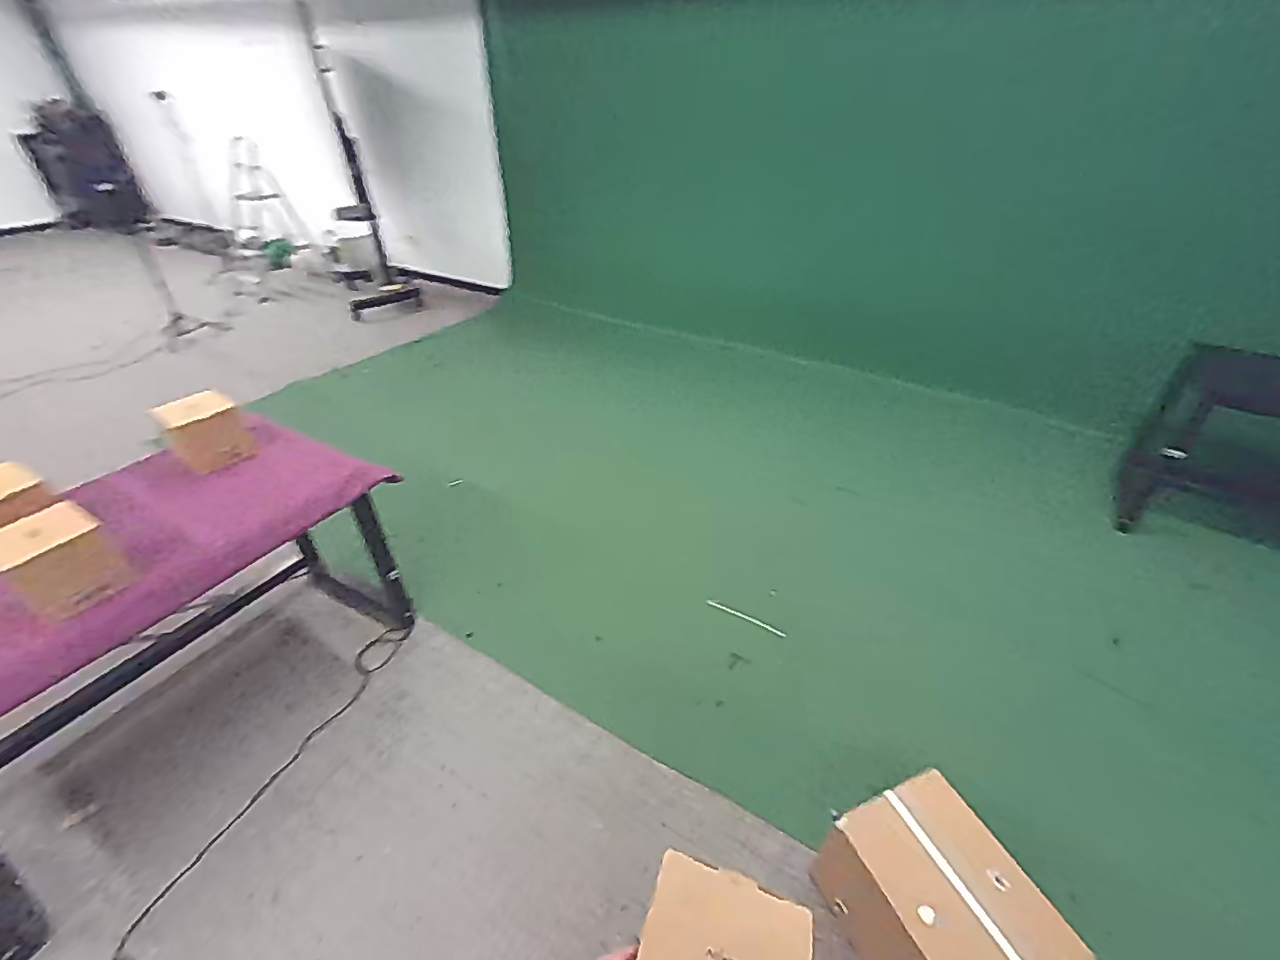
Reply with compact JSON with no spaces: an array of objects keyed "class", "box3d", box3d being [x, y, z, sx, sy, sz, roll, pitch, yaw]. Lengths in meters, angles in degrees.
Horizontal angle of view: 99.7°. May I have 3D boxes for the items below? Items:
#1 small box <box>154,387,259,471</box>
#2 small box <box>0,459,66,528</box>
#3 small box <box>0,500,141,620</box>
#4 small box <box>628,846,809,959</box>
[{"class":"small box","box3d":[-1.293,-0.152,1.620,0.179,0.176,0.168,25,44,28]},{"class":"small box","box3d":[-1.529,0.078,1.310,0.179,0.176,0.168,18,39,20]},{"class":"small box","box3d":[-1.261,0.175,1.181,0.179,0.176,0.168,20,41,25]},{"class":"small box","box3d":[0.065,0.536,0.554,0.168,0.176,0.179,16,30,12]}]
